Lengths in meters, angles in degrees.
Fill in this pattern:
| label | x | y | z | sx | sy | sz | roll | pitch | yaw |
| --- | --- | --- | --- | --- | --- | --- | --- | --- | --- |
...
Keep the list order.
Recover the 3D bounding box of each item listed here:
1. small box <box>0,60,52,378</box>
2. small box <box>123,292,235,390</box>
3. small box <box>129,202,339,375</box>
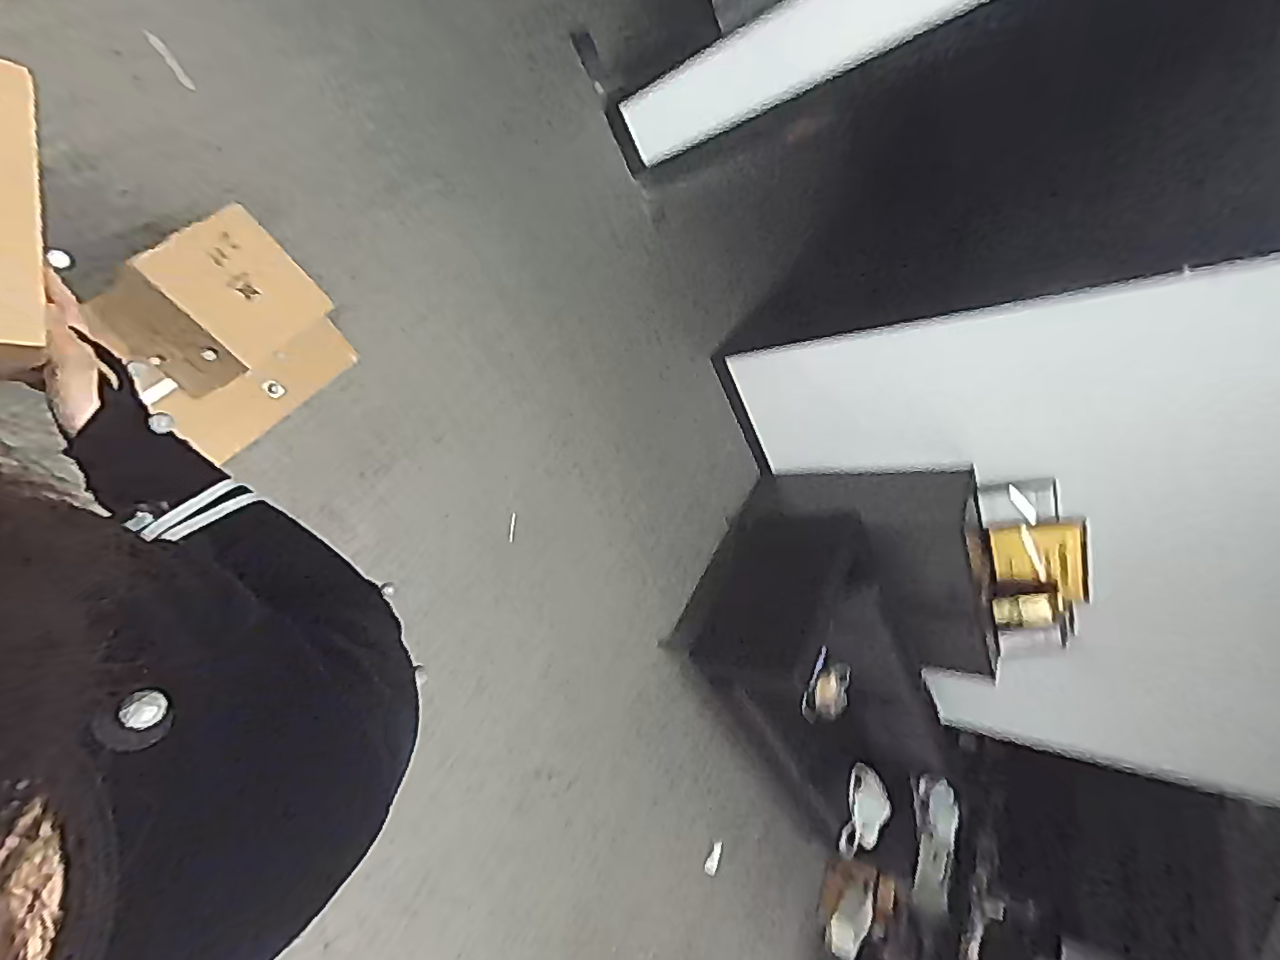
| label | x | y | z | sx | sy | sz | roll | pitch | yaw |
| --- | --- | --- | --- | --- | --- | --- | --- | --- | --- |
| small box | -0.494 | -0.167 | 0.333 | 0.168 | 0.176 | 0.179 | -6 | 95 | -48 |
| small box | -0.731 | -0.273 | 0.930 | 0.168 | 0.176 | 0.179 | 55 | 52 | -32 |
| small box | -0.610 | -0.275 | 0.817 | 0.179 | 0.176 | 0.168 | 54 | 51 | -32 |
